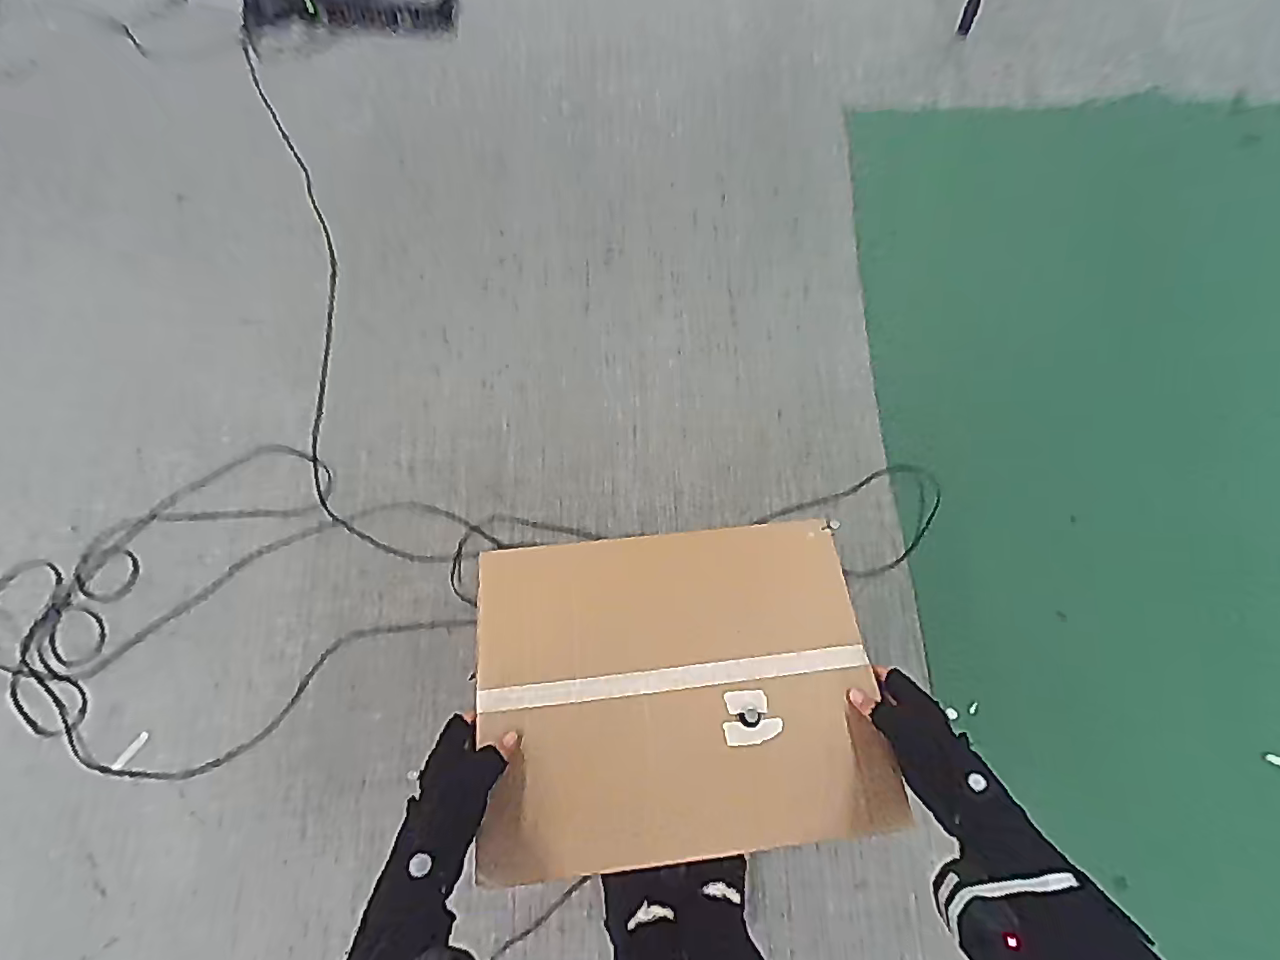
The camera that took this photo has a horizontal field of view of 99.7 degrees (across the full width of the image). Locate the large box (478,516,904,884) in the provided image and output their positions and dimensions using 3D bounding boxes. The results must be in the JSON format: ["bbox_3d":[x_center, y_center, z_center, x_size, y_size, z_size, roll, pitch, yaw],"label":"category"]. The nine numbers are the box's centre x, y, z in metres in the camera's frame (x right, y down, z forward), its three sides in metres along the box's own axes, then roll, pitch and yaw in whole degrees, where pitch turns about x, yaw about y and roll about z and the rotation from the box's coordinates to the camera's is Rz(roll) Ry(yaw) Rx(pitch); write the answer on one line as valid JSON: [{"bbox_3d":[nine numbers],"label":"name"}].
[{"bbox_3d":[0.029,0.264,0.688,0.408,0.320,0.320,-5,65,-5],"label":"large box"}]
